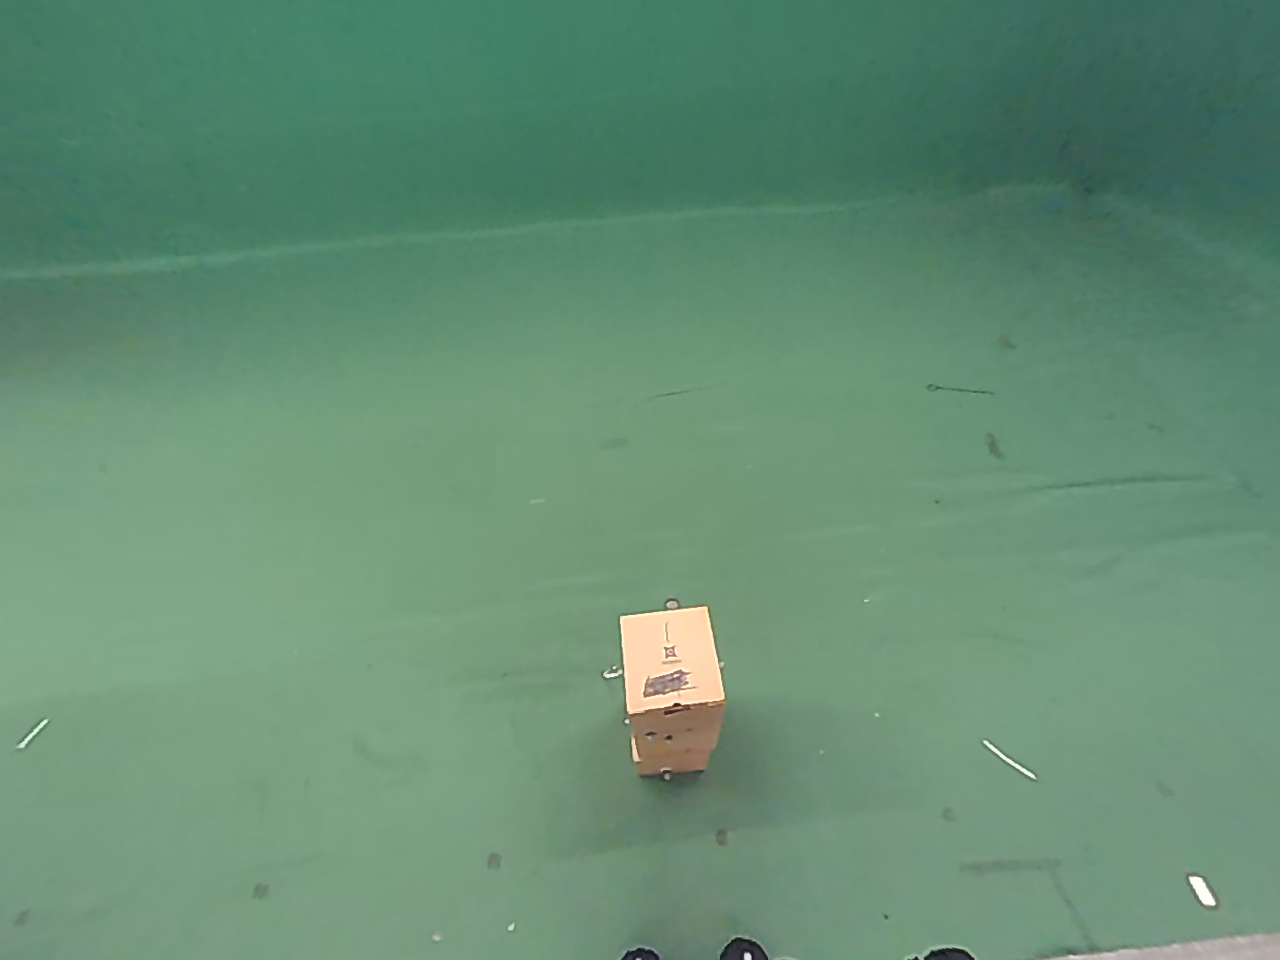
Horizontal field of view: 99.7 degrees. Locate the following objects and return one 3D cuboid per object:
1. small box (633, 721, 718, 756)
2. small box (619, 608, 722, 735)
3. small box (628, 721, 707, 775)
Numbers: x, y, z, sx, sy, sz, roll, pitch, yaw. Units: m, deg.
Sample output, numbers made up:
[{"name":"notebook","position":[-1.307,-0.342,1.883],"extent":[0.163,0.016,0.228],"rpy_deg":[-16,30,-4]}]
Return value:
[{"name":"small box","position":[0.063,0.464,1.135],"extent":[0.168,0.176,0.179],"rpy_deg":[-6,50,-2]},{"name":"small box","position":[0.054,0.361,1.006],"extent":[0.168,0.176,0.179],"rpy_deg":[-6,50,-2]},{"name":"small box","position":[0.059,0.560,1.243],"extent":[0.168,0.176,0.179],"rpy_deg":[-5,51,1]}]
